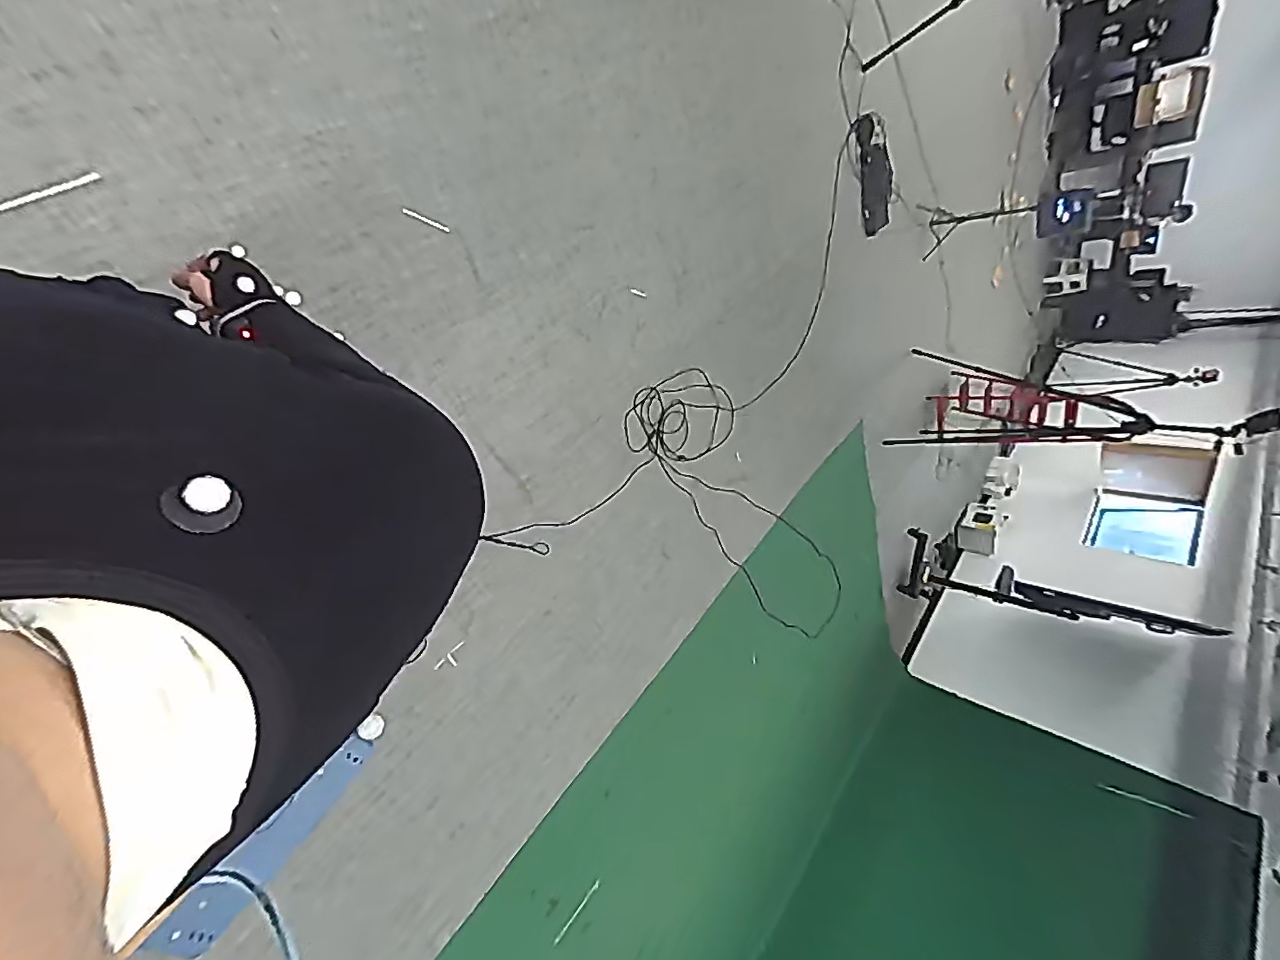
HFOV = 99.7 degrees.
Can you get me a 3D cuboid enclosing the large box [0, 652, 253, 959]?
[{"bbox_3d":[-1.061,0.594,1.014,0.320,0.320,0.408,-50,132,-26],"label":"large box"}]
